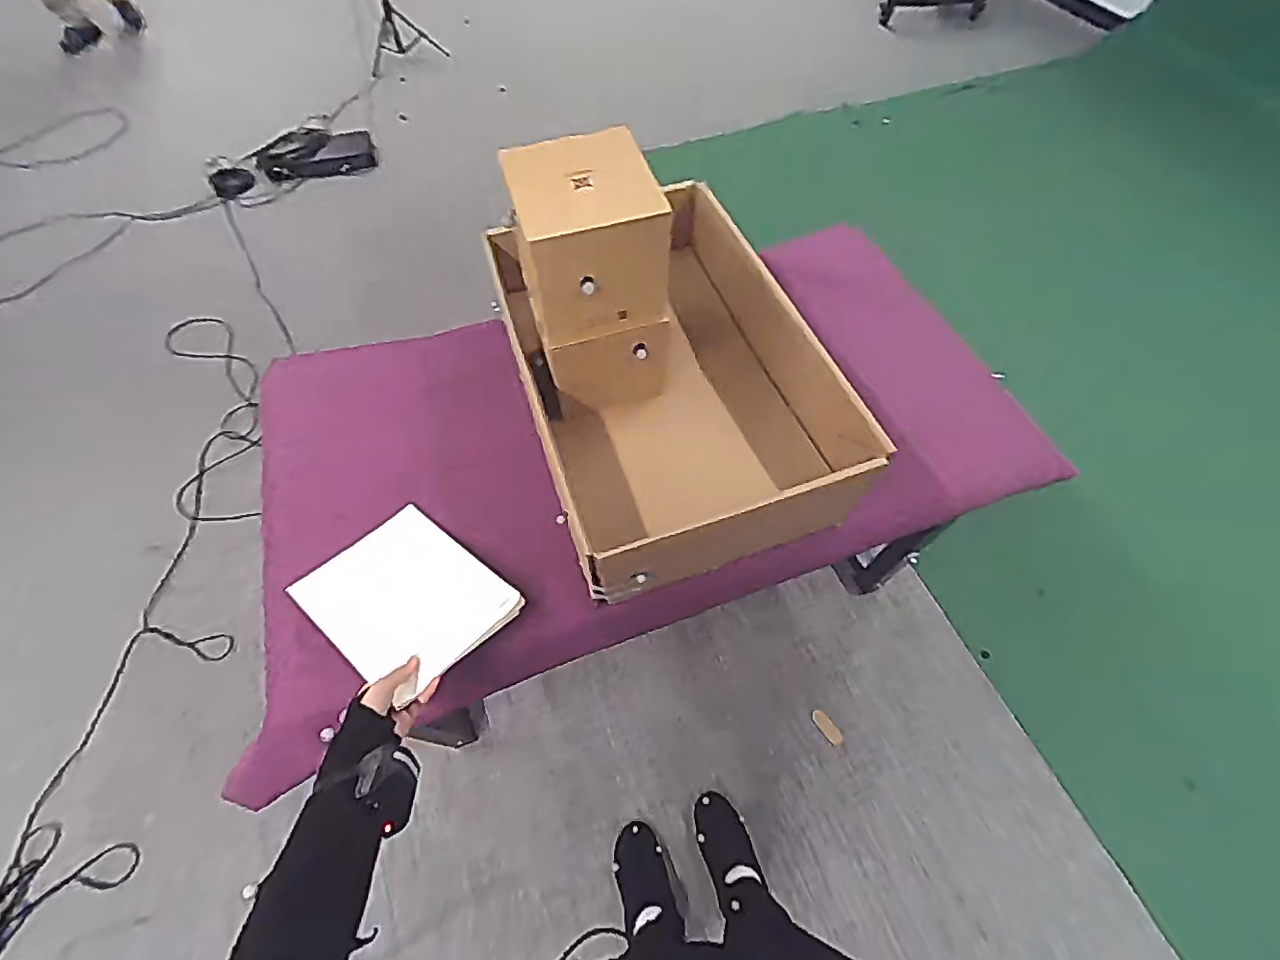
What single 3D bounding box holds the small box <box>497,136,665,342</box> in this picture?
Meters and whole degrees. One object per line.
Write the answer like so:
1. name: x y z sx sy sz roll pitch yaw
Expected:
1. small box: -0.071 -0.301 0.701 0.168 0.176 0.179 -16 61 -8
